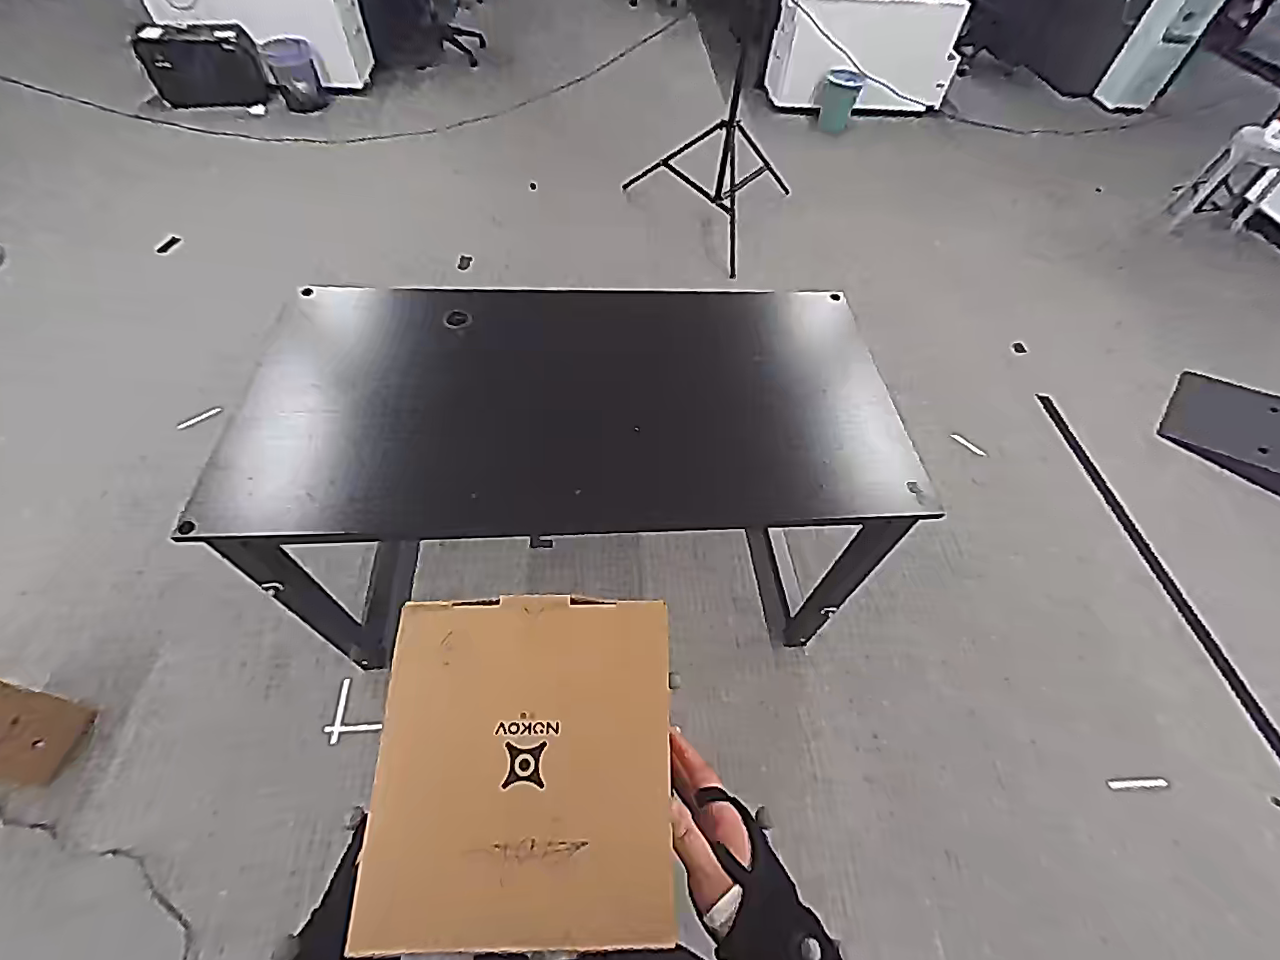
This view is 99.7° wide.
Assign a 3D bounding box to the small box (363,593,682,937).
[{"bbox_3d":[-0.062,0.185,0.382,0.168,0.176,0.179,0,67,-1],"label":"small box"}]

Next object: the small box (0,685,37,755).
[{"bbox_3d":[-1.380,0.485,1.060,0.179,0.176,0.168,3,53,-1],"label":"small box"}]

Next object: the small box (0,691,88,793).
[{"bbox_3d":[-1.400,0.576,1.196,0.168,0.176,0.179,6,55,0],"label":"small box"}]
